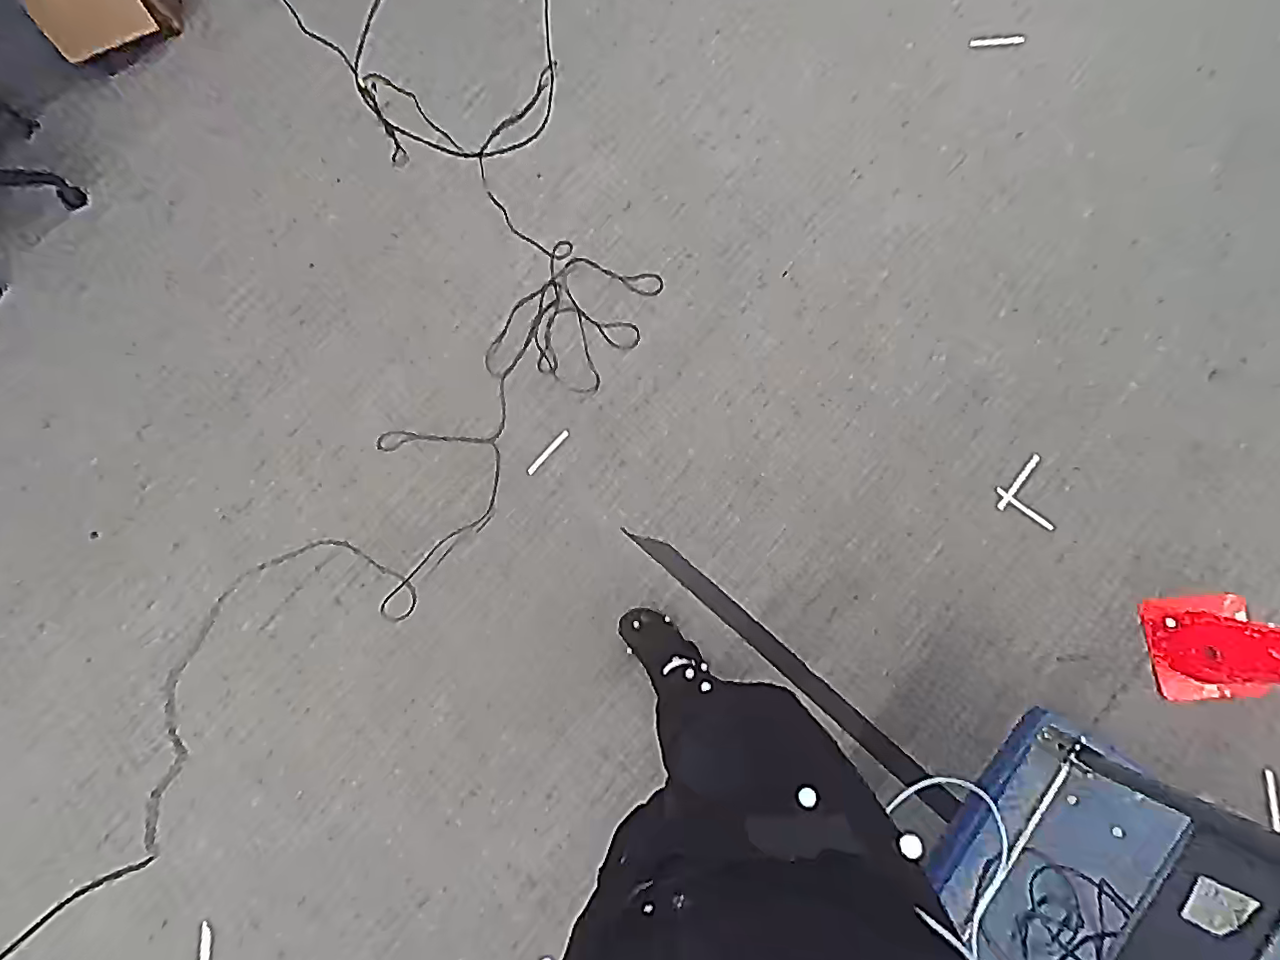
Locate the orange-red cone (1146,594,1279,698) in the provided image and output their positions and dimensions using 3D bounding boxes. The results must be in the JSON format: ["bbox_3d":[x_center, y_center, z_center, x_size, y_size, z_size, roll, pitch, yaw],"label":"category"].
[{"bbox_3d":[1.121,0.300,0.919,0.198,0.360,0.199,-5,79,5],"label":"orange-red cone"}]
